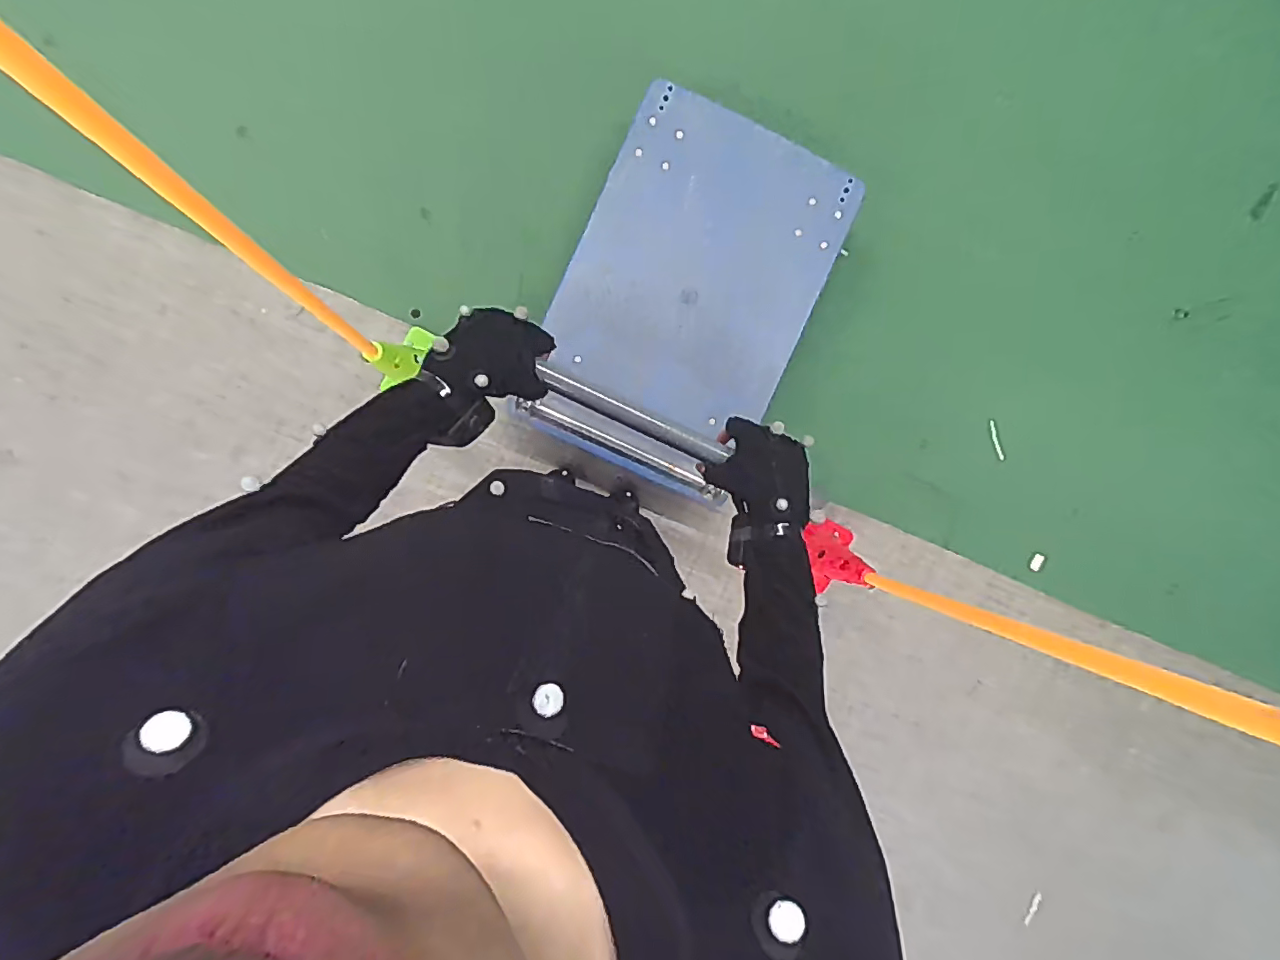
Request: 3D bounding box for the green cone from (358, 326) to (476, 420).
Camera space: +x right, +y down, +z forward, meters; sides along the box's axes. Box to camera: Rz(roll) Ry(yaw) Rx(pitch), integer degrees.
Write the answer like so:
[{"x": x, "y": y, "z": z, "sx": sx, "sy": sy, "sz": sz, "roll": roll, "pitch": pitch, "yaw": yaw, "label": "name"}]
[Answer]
[{"x": -0.551, "y": -0.279, "z": 1.261, "sx": 0.202, "sy": 0.368, "sz": 0.200, "roll": 27, "pitch": 90, "yaw": -4, "label": "green cone"}]
